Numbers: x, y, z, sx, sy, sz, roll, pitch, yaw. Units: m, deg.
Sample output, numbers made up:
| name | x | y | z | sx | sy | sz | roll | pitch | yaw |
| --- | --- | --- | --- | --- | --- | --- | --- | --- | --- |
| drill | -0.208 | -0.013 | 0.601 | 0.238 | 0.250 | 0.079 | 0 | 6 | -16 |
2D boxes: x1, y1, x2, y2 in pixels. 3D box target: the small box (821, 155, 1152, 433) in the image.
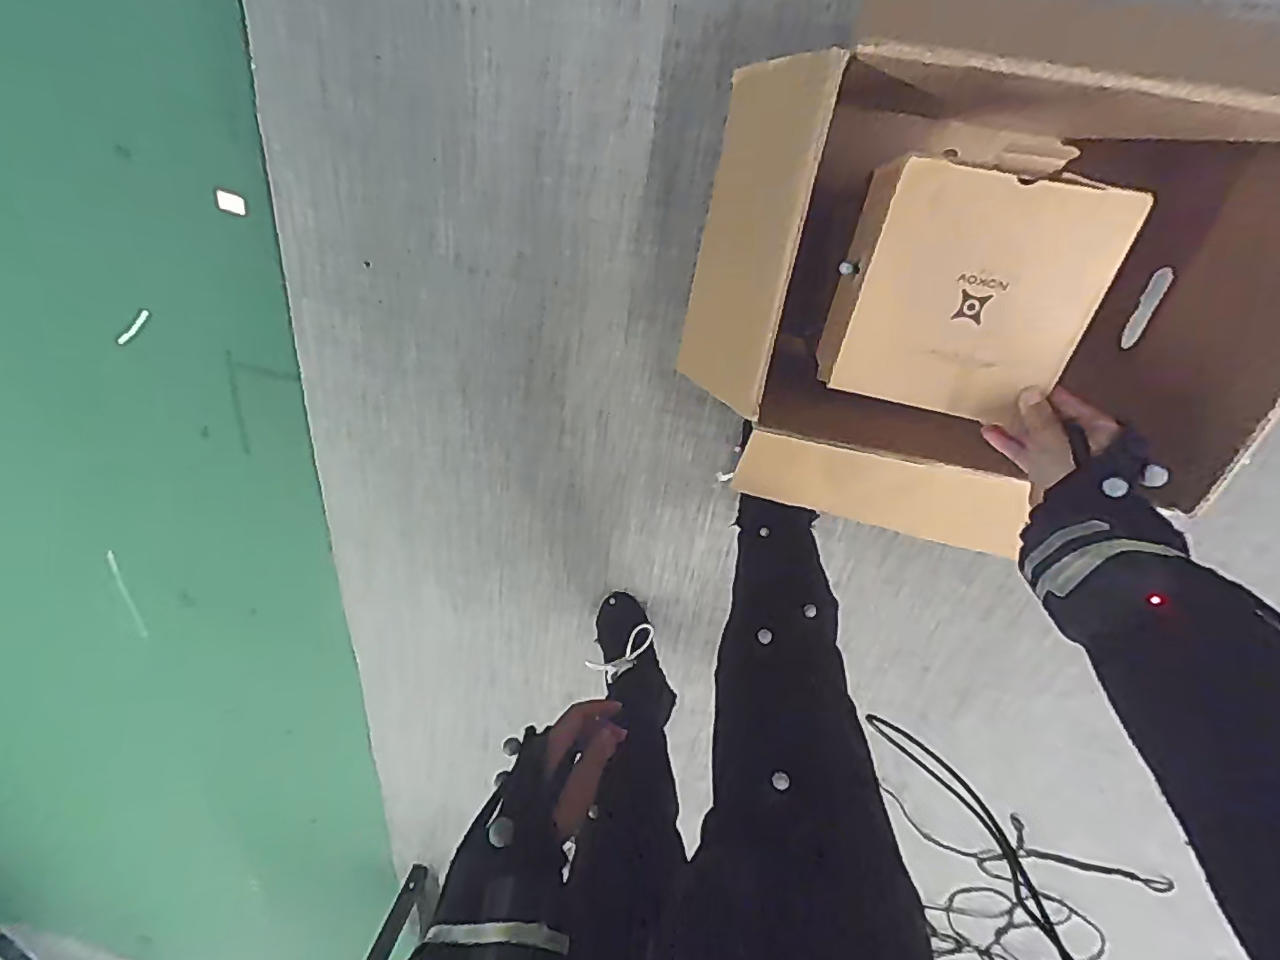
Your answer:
| name | x | y | z | sx | sy | sz | roll | pitch | yaw |
| --- | --- | --- | --- | --- | --- | --- | --- | --- | --- |
| small box | 0.273 | -0.167 | 0.484 | 0.168 | 0.176 | 0.179 | 15 | 117 | 5 |
